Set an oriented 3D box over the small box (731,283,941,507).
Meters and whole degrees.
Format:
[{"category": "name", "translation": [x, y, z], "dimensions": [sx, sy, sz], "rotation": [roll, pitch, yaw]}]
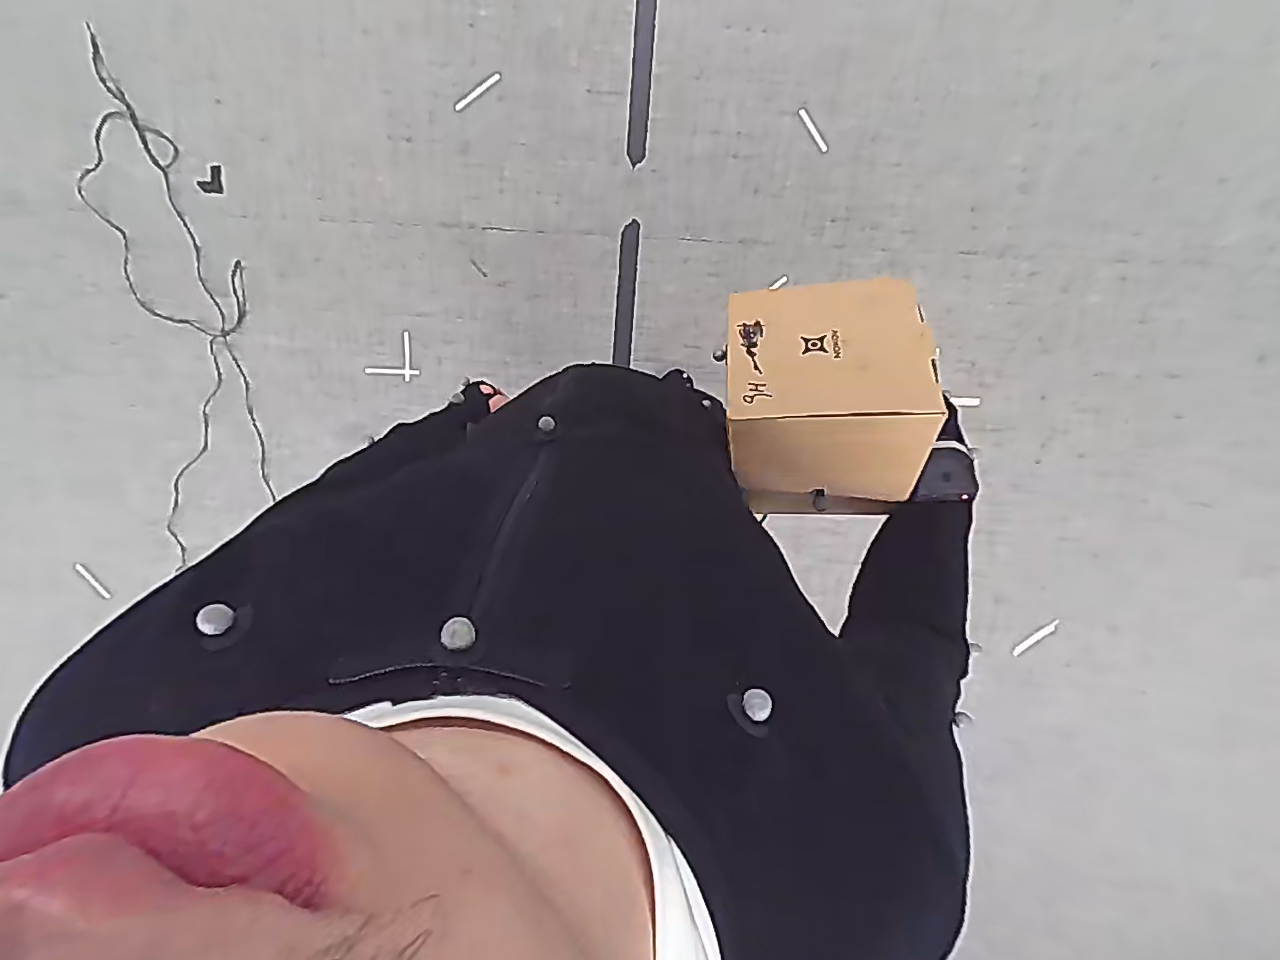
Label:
[{"category": "small box", "translation": [0.187, -0.082, 0.574], "dimensions": [0.179, 0.168, 0.176], "rotation": [-1, 147, 11]}]
